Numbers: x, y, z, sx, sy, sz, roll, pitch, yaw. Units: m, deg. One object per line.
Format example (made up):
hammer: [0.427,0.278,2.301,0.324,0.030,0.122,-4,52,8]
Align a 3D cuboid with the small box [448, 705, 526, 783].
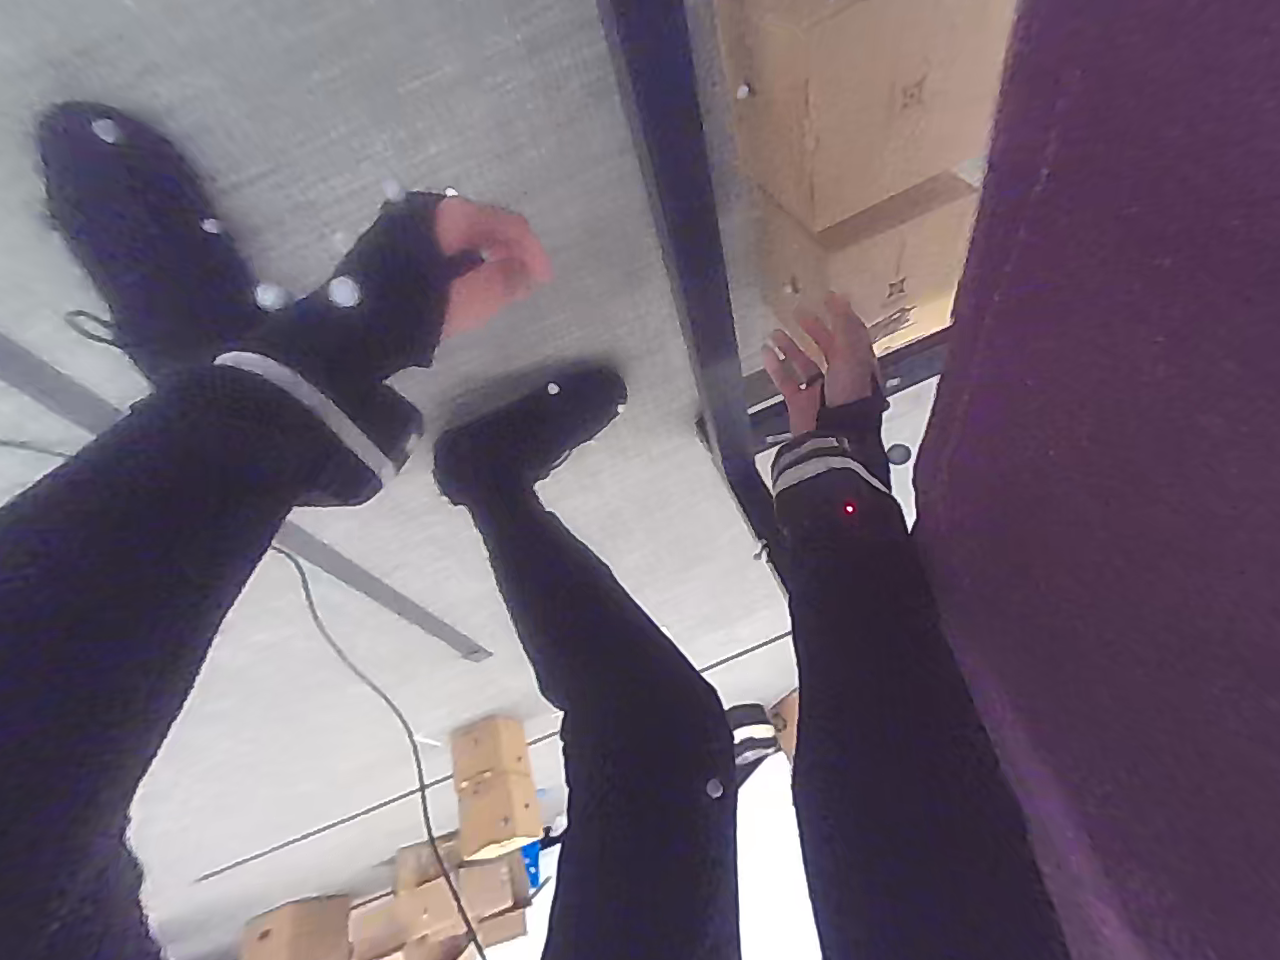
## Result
small box: [-0.475,0.817,1.677,0.168,0.176,0.179,-24,143,4]
